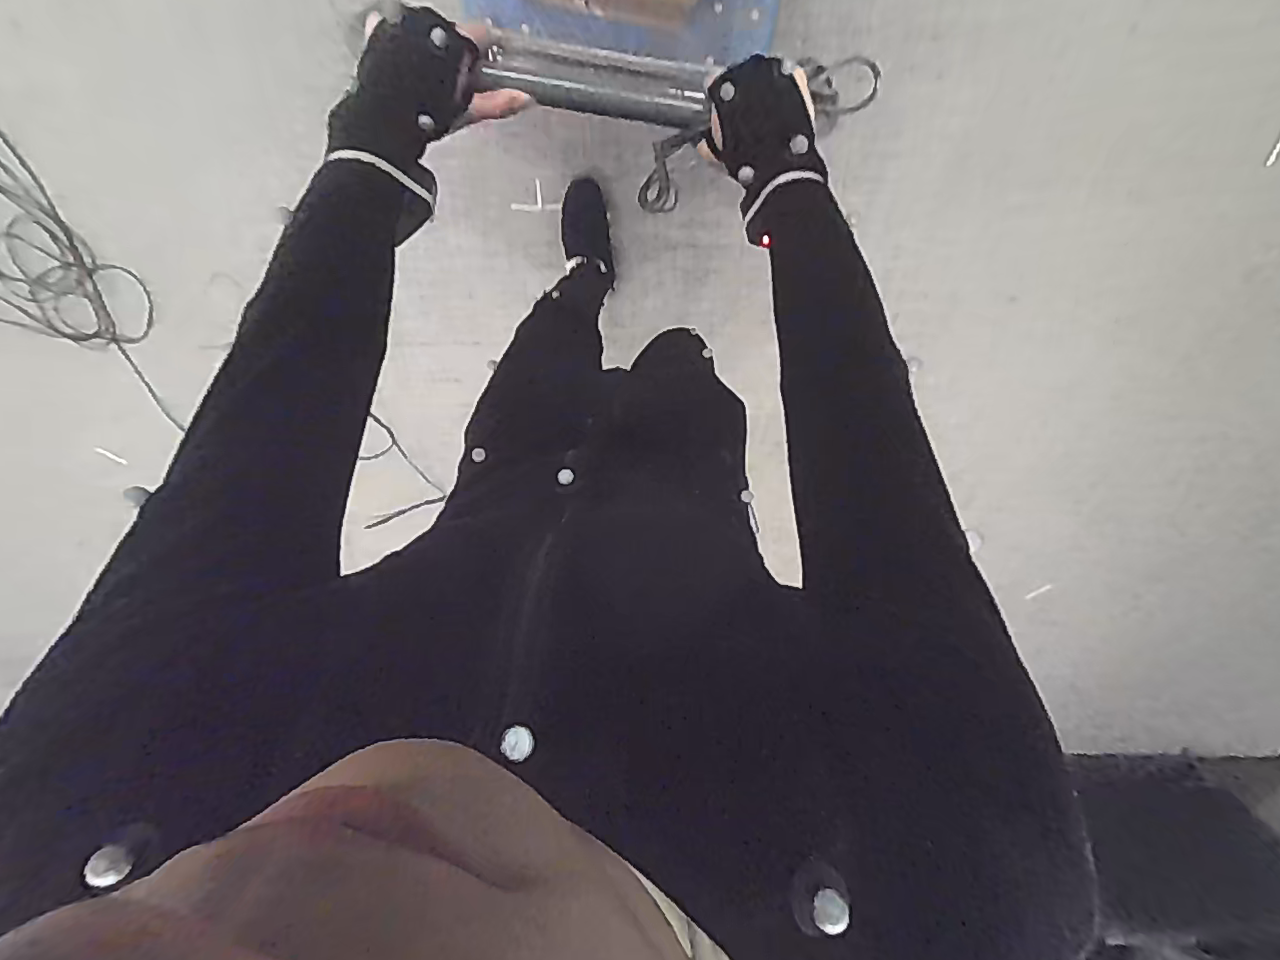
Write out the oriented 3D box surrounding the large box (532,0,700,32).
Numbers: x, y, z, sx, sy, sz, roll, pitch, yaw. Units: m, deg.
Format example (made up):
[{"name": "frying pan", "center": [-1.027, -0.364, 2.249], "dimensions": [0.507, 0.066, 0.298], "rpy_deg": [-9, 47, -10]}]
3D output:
[{"name": "large box", "center": [-0.026, -0.950, 0.775], "dimensions": [0.320, 0.320, 0.408], "rpy_deg": [9, 120, -6]}]
